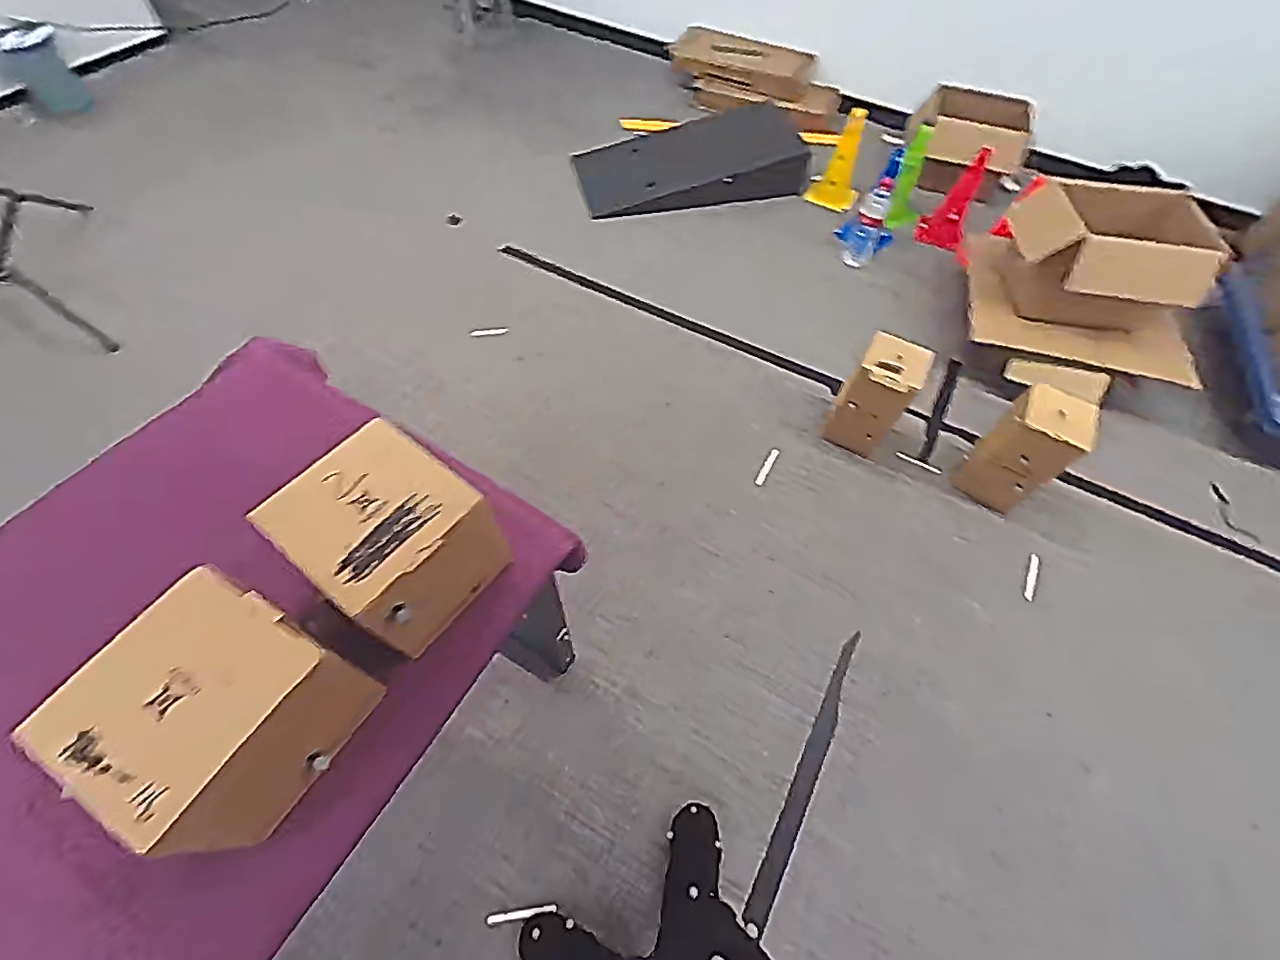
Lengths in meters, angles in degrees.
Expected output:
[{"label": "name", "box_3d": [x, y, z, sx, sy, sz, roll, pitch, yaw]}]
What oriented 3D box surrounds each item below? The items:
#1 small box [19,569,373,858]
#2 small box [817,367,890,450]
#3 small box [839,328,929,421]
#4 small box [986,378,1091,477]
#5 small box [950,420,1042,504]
[{"label": "small box", "box_3d": [-0.393, 0.223, 0.525, 0.168, 0.176, 0.179, 28, 60, 13]}, {"label": "small box", "box_3d": [0.688, -0.219, 1.712, 0.179, 0.176, 0.168, 24, 60, 12]}, {"label": "small box", "box_3d": [0.702, -0.301, 1.570, 0.168, 0.176, 0.179, 27, 60, 12]}, {"label": "small box", "box_3d": [1.099, -0.143, 1.500, 0.168, 0.176, 0.179, 27, 62, 11]}, {"label": "small box", "box_3d": [1.084, -0.050, 1.633, 0.179, 0.176, 0.168, 31, 62, 14]}]
